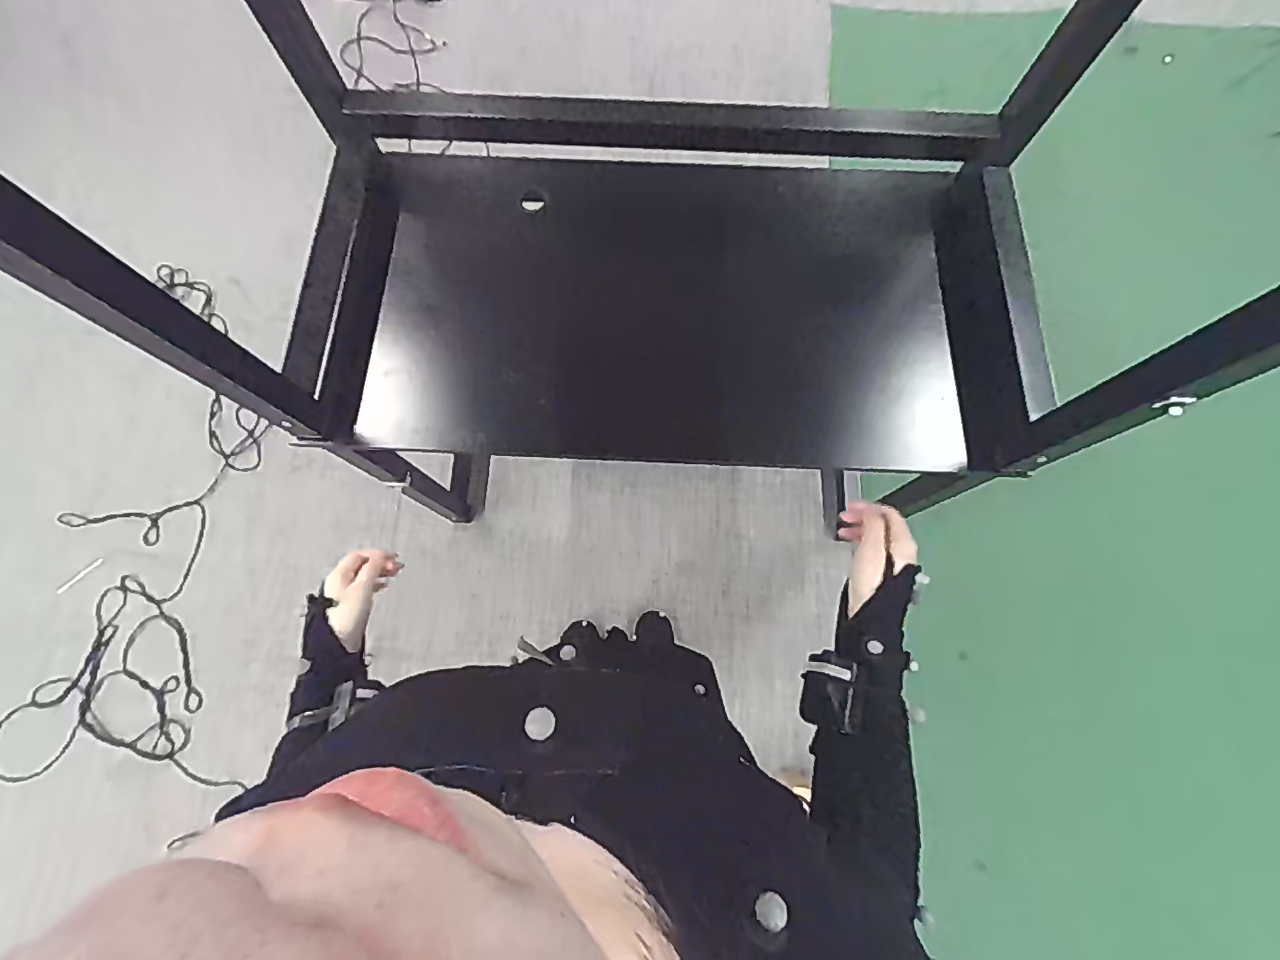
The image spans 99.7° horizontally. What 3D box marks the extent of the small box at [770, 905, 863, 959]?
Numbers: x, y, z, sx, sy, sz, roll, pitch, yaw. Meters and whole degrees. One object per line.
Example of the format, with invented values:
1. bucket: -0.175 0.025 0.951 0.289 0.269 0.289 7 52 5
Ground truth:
1. small box: 0.398 1.092 1.217 0.168 0.176 0.179 -4 76 0
